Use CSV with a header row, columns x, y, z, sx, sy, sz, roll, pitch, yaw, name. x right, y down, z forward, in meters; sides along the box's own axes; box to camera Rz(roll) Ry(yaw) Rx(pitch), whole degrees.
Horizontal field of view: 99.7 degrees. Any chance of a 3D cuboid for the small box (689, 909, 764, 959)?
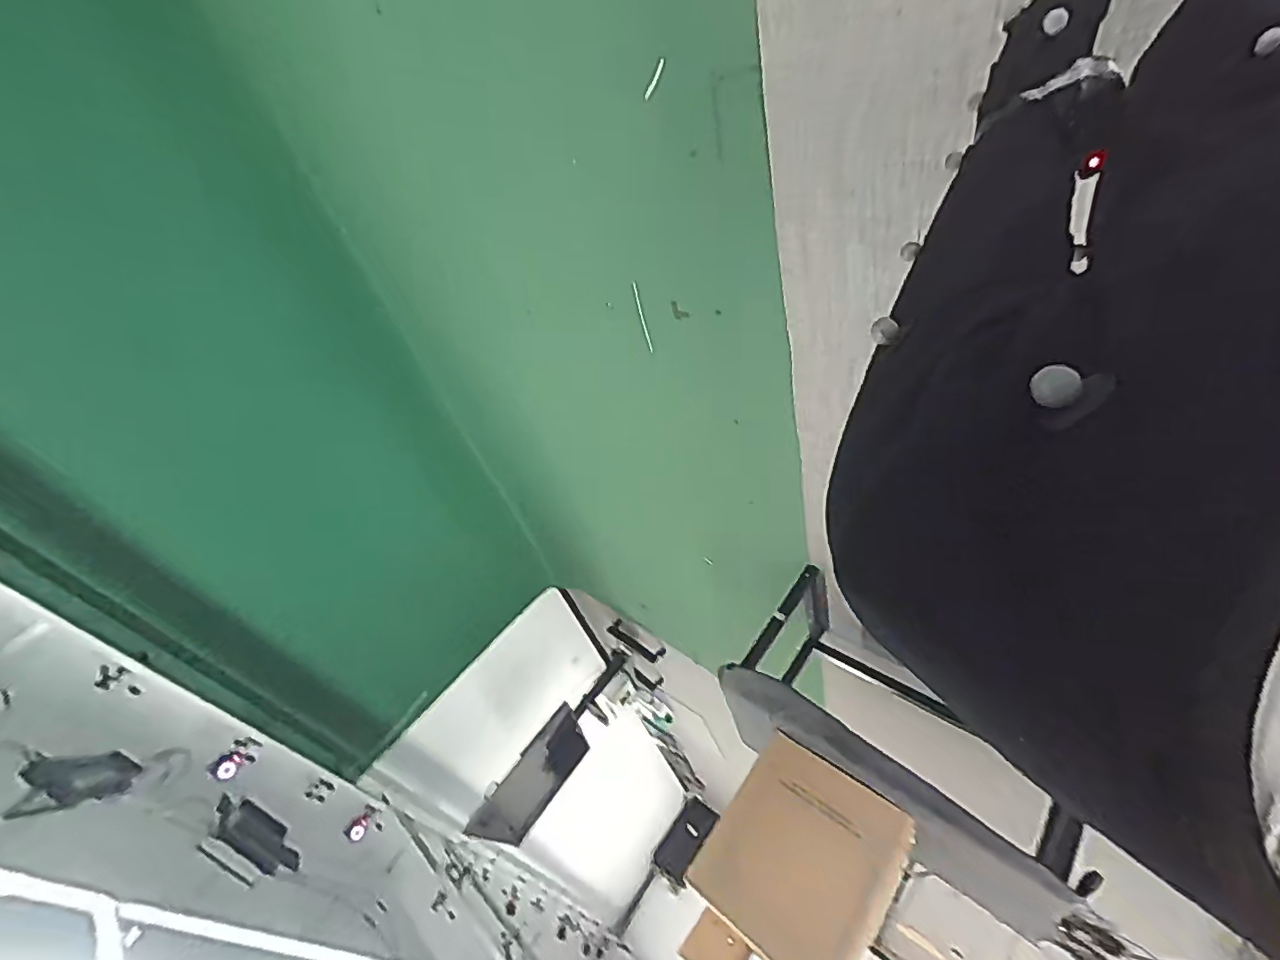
x,y,z,sx,sy,sz,roll,pitch,yaw,name
0.298,1.612,1.836,0.168,0.176,0.179,18,142,44,small box
